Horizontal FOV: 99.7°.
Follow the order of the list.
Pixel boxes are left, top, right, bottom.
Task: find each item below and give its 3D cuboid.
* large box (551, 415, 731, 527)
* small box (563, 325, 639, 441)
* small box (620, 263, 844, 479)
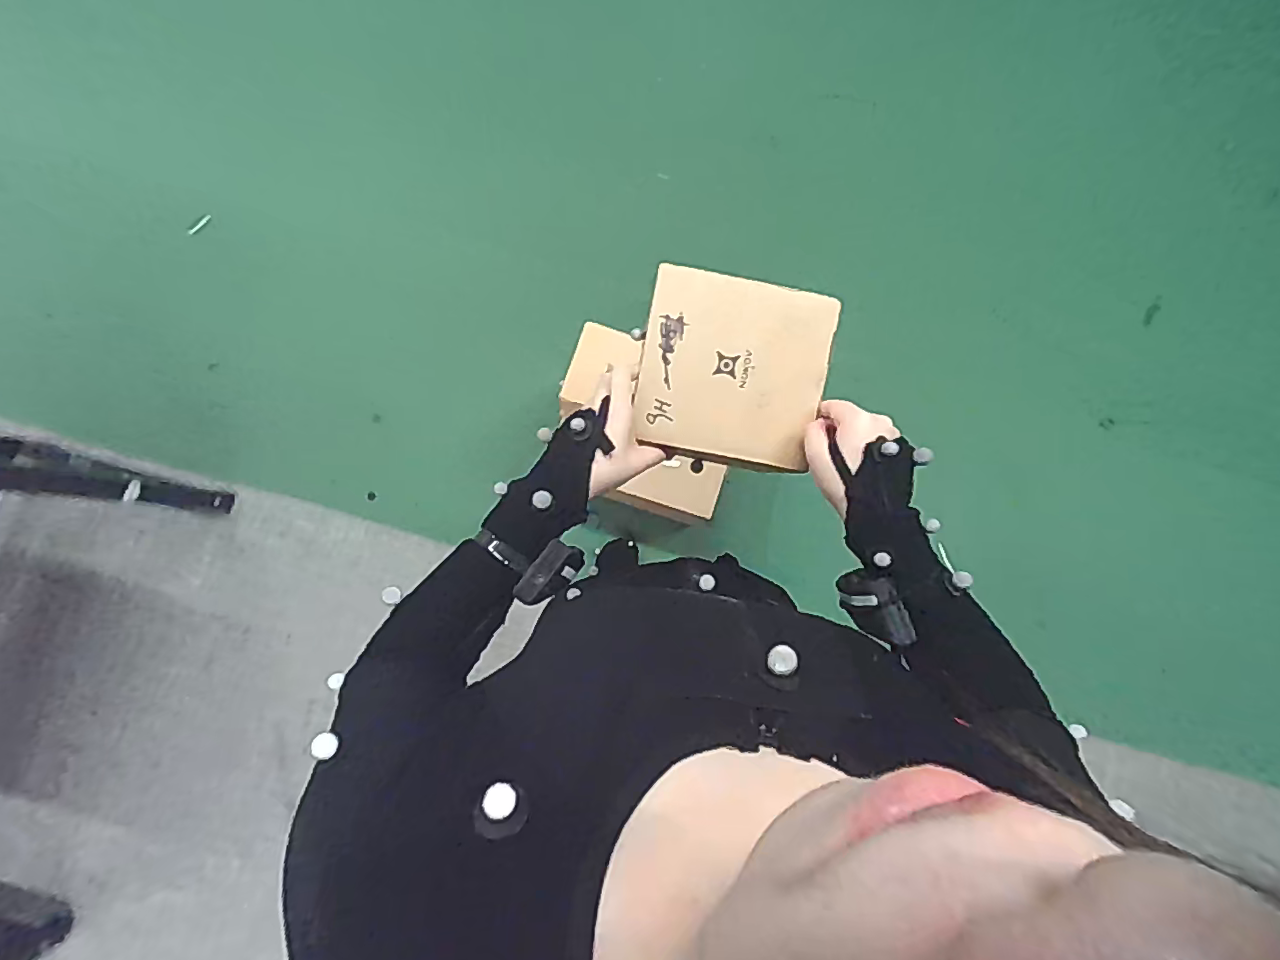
[{"bbox_3d":[0.020,-0.086,1.398,0.408,0.320,0.320,18,83,0],"label":"large box"},{"bbox_3d":[-0.057,-0.200,1.165,0.168,0.176,0.179,19,82,0],"label":"small box"},{"bbox_3d":[0.081,-0.100,0.567,0.179,0.176,0.168,11,90,-3],"label":"small box"}]
